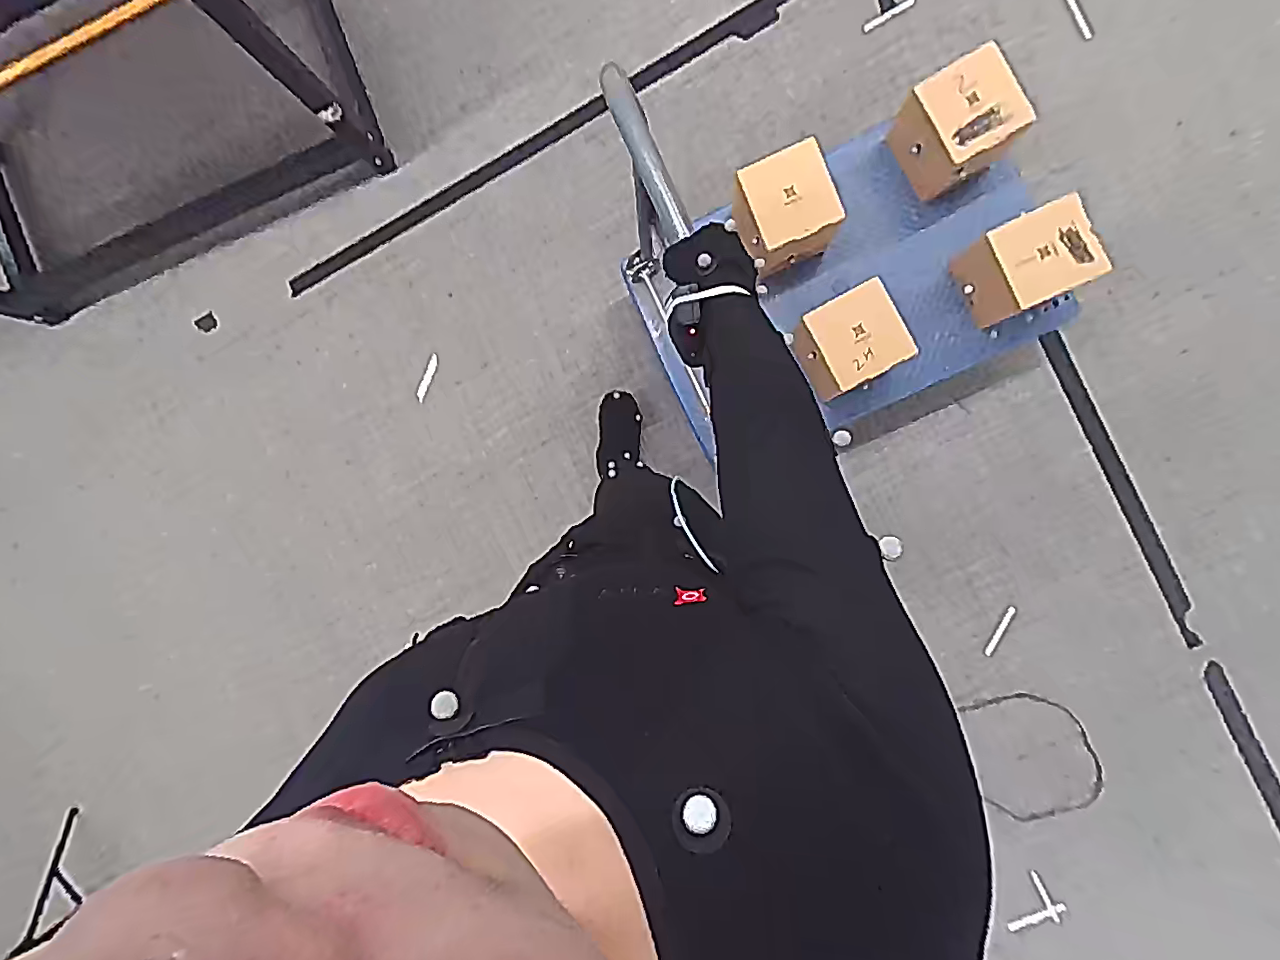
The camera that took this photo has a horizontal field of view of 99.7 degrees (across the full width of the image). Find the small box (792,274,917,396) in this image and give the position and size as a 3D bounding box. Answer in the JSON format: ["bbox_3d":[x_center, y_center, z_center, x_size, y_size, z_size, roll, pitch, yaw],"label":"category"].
[{"bbox_3d":[0.441,-0.296,1.147,0.168,0.176,0.179,-27,89,6],"label":"small box"}]

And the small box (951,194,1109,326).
[{"bbox_3d":[0.784,-0.438,1.106,0.179,0.176,0.168,-24,90,7],"label":"small box"}]

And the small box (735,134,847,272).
[{"bbox_3d":[0.310,-0.577,1.150,0.168,0.176,0.179,-22,91,6],"label":"small box"}]
